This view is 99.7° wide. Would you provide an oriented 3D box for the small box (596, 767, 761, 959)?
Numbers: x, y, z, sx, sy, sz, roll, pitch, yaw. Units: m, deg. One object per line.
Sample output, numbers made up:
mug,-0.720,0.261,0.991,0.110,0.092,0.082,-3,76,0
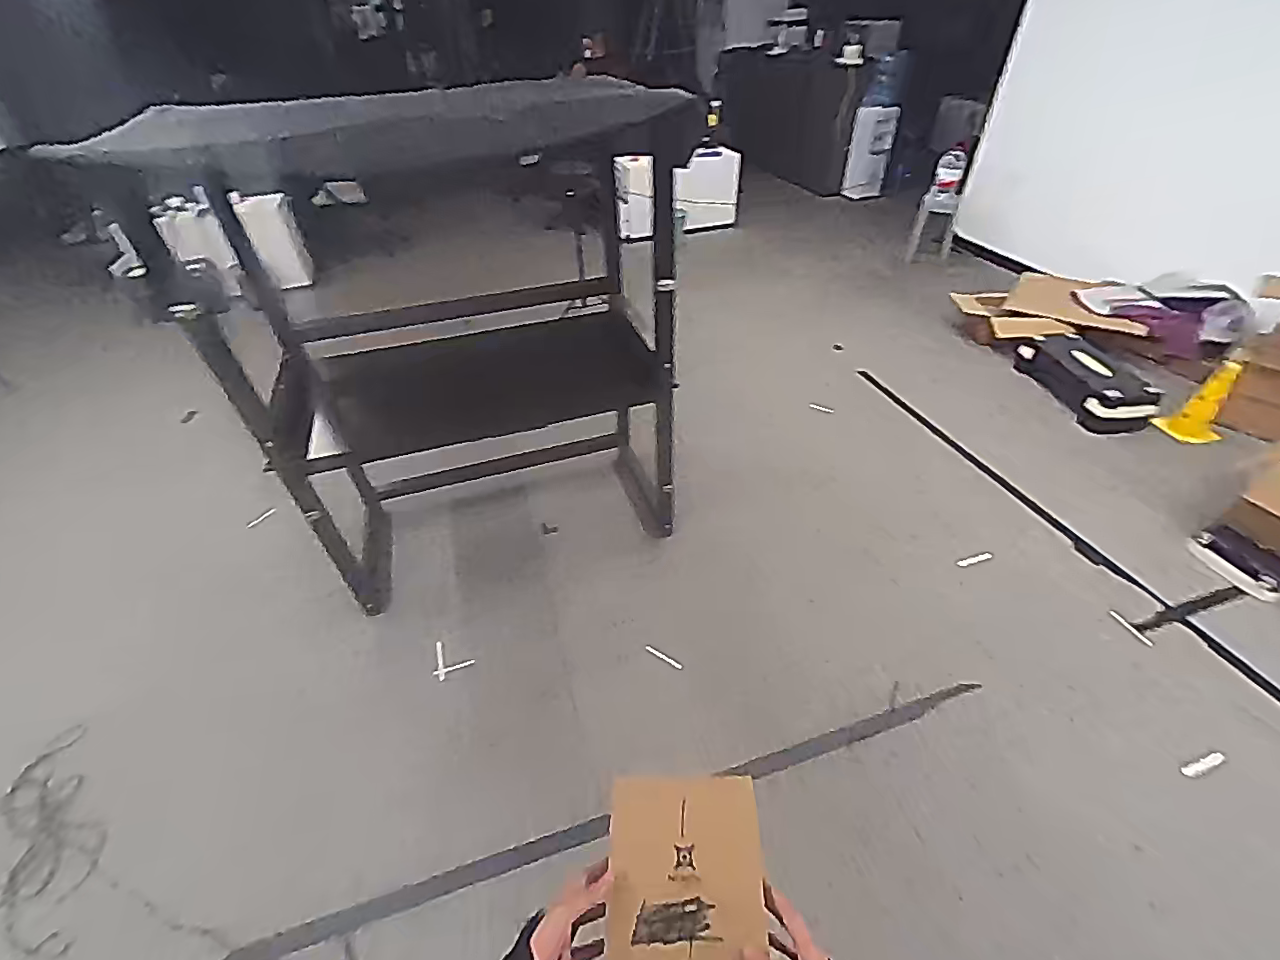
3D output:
small box,0.048,0.453,0.637,0.168,0.176,0.179,-3,49,5
